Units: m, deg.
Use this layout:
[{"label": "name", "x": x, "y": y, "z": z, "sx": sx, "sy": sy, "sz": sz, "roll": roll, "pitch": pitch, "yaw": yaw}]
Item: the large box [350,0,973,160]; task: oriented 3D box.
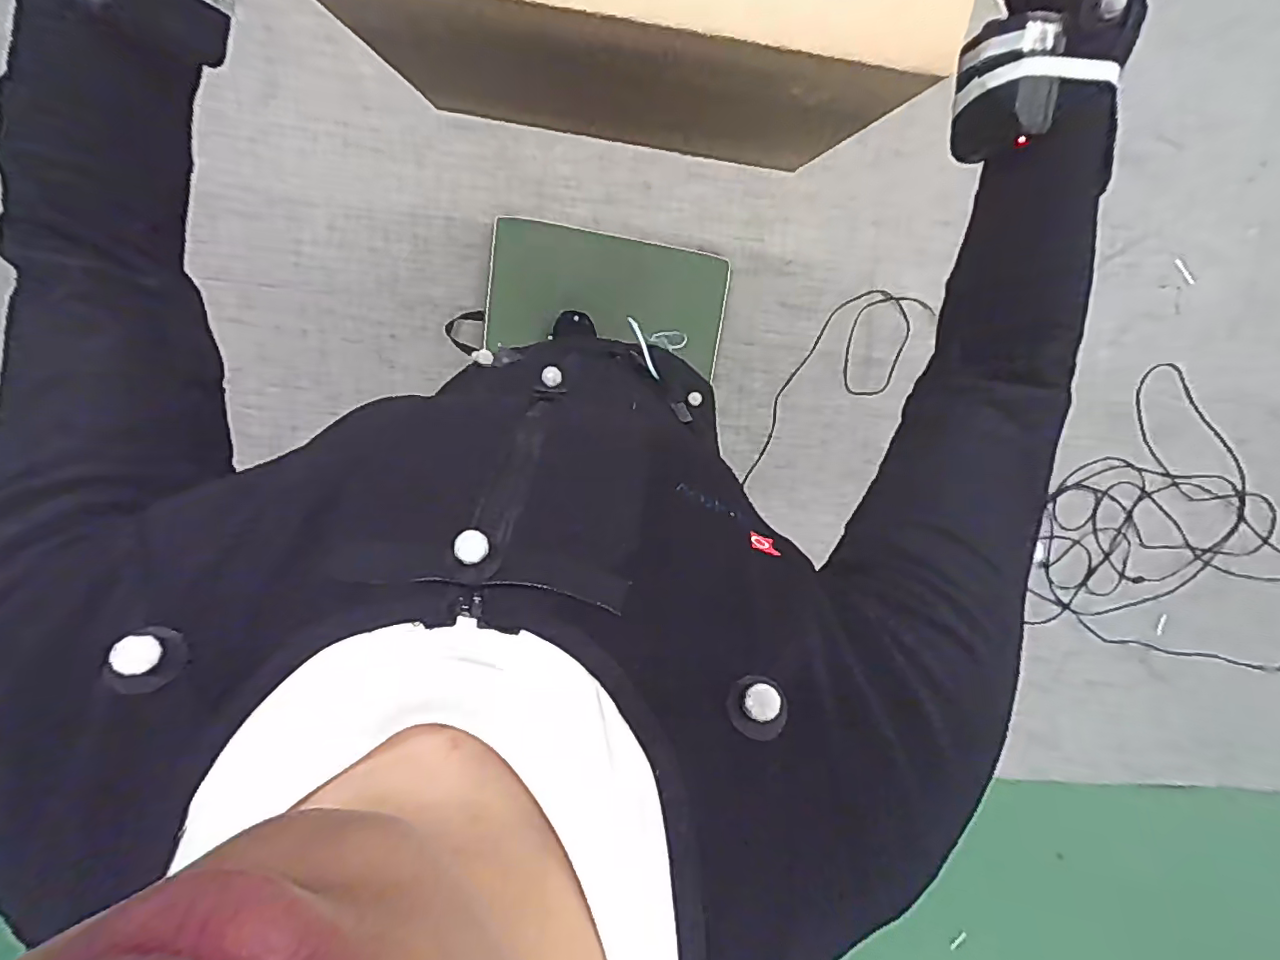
[{"label": "large box", "x": 0.010, "y": -0.471, "z": 0.407, "sx": 0.408, "sy": 0.320, "sz": 0.320, "roll": 6, "pitch": 110, "yaw": -6}]
